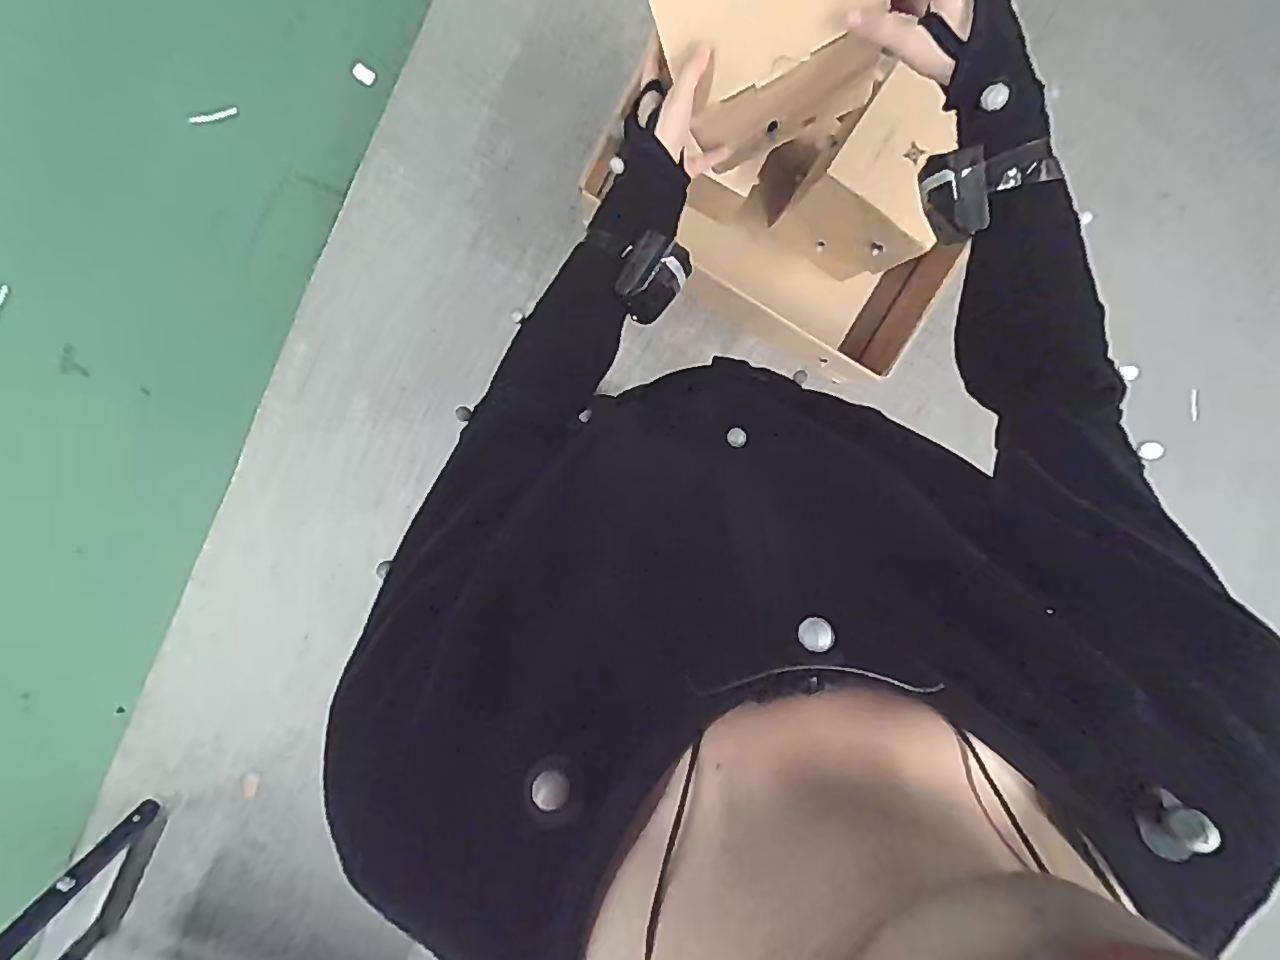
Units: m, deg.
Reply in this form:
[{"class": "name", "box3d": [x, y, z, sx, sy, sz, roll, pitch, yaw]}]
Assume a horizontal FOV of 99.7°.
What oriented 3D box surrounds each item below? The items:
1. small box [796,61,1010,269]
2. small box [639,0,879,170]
[{"class": "small box", "box3d": [0.356, -0.424, 0.767, 0.179, 0.176, 0.168, 33, 98, -6]}, {"class": "small box", "box3d": [0.096, -0.417, 0.482, 0.168, 0.176, 0.179, -16, 101, 20]}]
